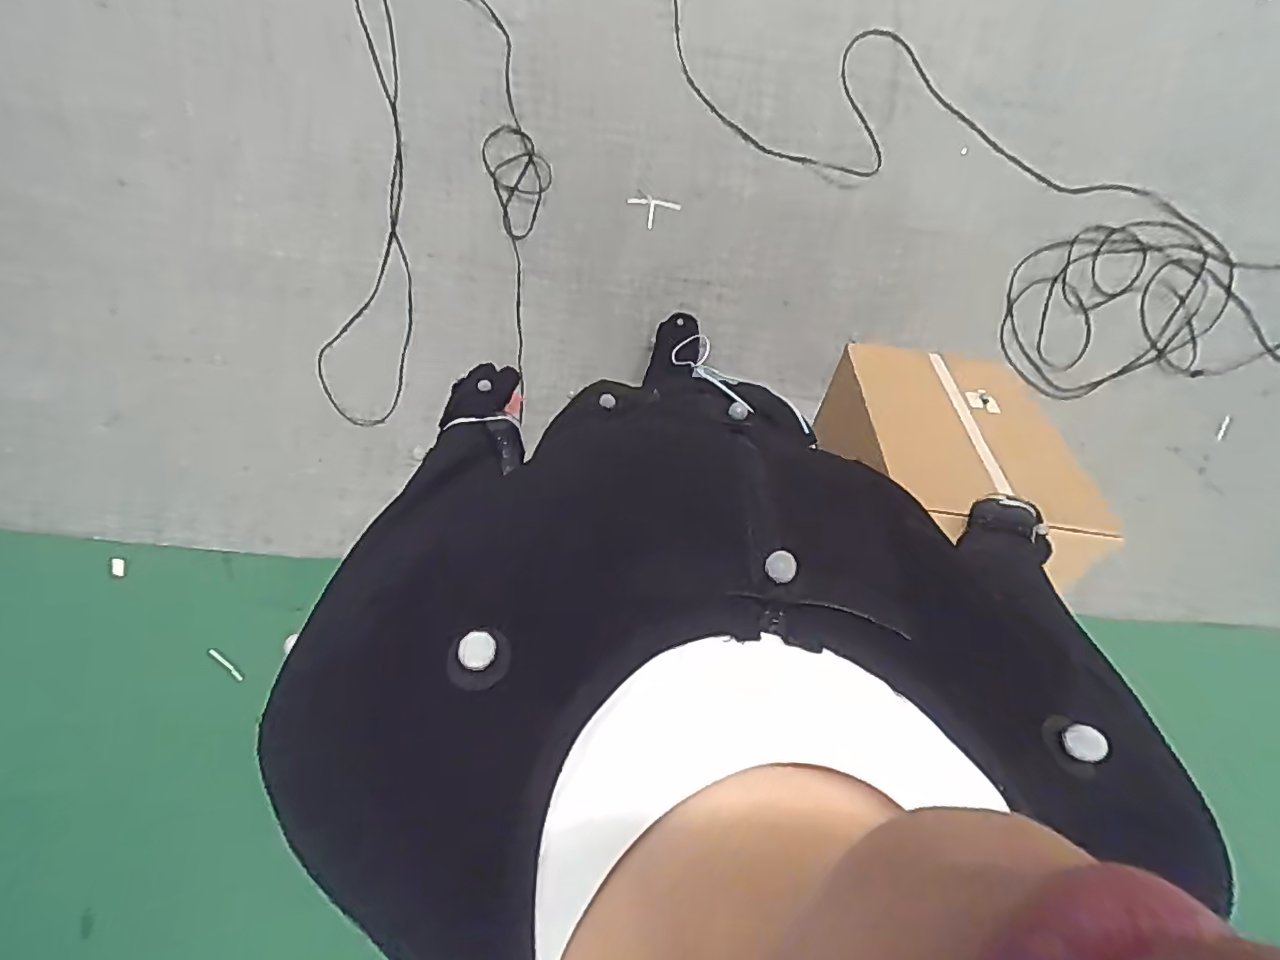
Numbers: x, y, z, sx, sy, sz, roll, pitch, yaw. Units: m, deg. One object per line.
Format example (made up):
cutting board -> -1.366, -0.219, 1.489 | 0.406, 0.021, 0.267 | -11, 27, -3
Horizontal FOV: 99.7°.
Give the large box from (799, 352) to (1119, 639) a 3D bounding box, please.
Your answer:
large box -> 0.501, 0.022, 0.970 | 0.320, 0.408, 0.320 | 8, 135, -1
